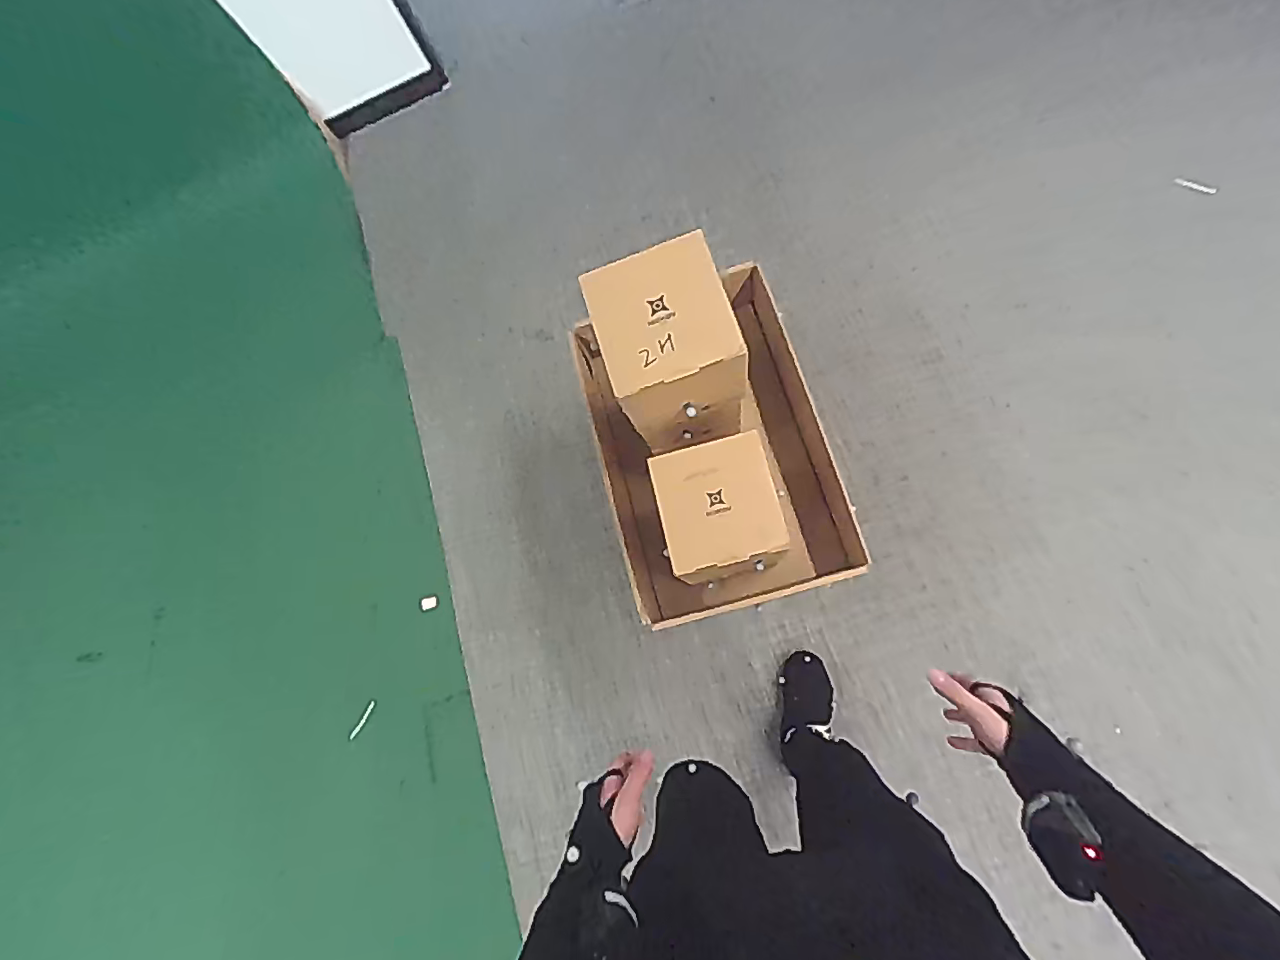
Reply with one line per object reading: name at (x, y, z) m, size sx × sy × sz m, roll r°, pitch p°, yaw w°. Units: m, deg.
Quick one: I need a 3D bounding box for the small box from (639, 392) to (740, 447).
small box at (0.060, -0.174, 0.893) m, size 0.168 × 0.176 × 0.179 m, roll -17°, pitch 77°, yaw 7°

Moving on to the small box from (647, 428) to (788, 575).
small box at (0.121, 0.044, 0.826) m, size 0.168 × 0.176 × 0.179 m, roll -15°, pitch 74°, yaw 7°

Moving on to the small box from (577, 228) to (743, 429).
small box at (0.033, -0.191, 0.730) m, size 0.168 × 0.176 × 0.179 m, roll -19°, pitch 77°, yaw 7°
